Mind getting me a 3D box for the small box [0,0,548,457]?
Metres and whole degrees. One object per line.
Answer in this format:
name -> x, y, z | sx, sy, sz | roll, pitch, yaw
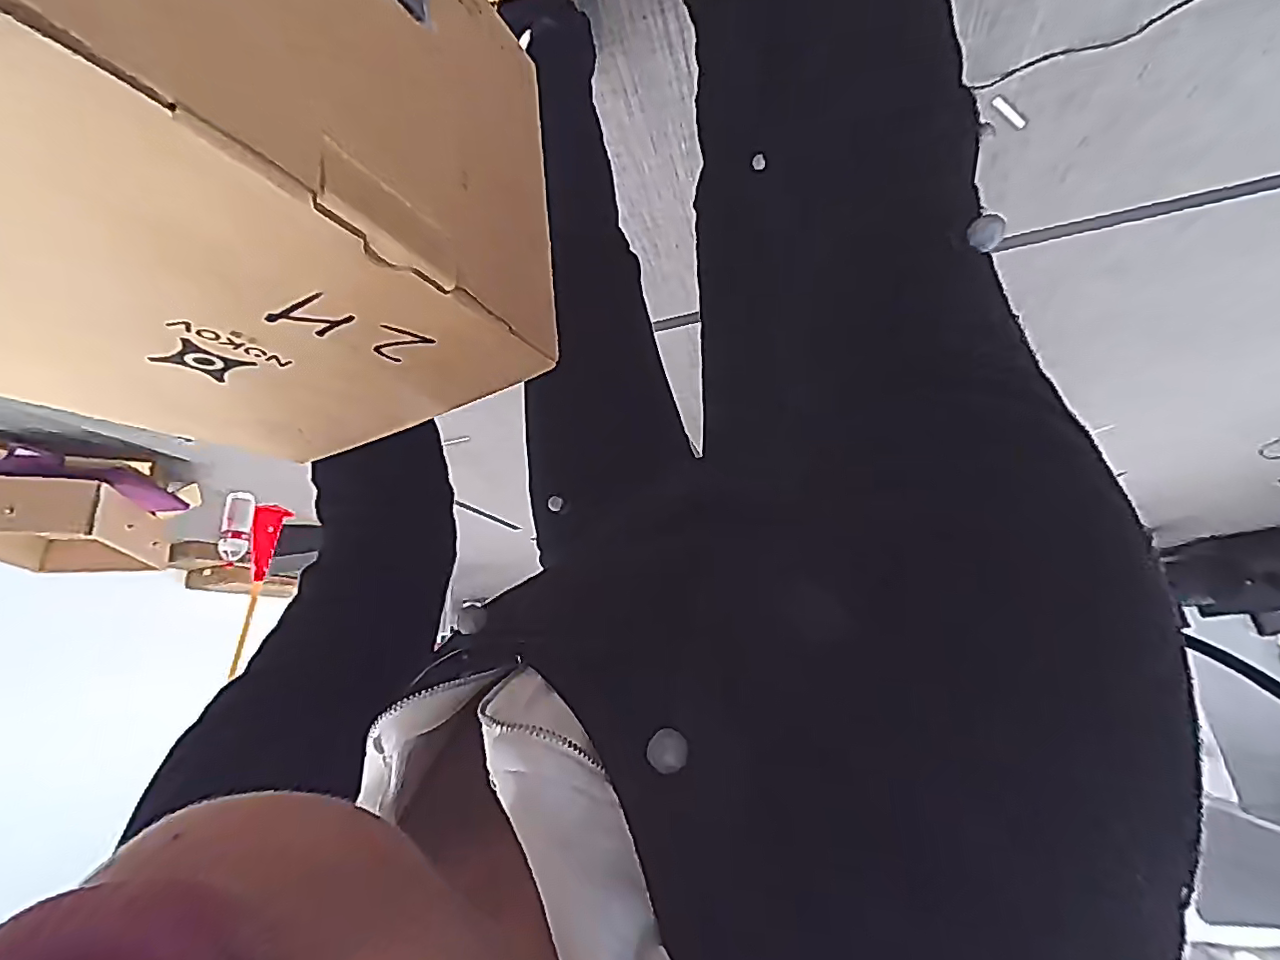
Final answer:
small box -> -0.156, -0.127, 0.216 | 0.179, 0.176, 0.168 | -15, 162, 23
